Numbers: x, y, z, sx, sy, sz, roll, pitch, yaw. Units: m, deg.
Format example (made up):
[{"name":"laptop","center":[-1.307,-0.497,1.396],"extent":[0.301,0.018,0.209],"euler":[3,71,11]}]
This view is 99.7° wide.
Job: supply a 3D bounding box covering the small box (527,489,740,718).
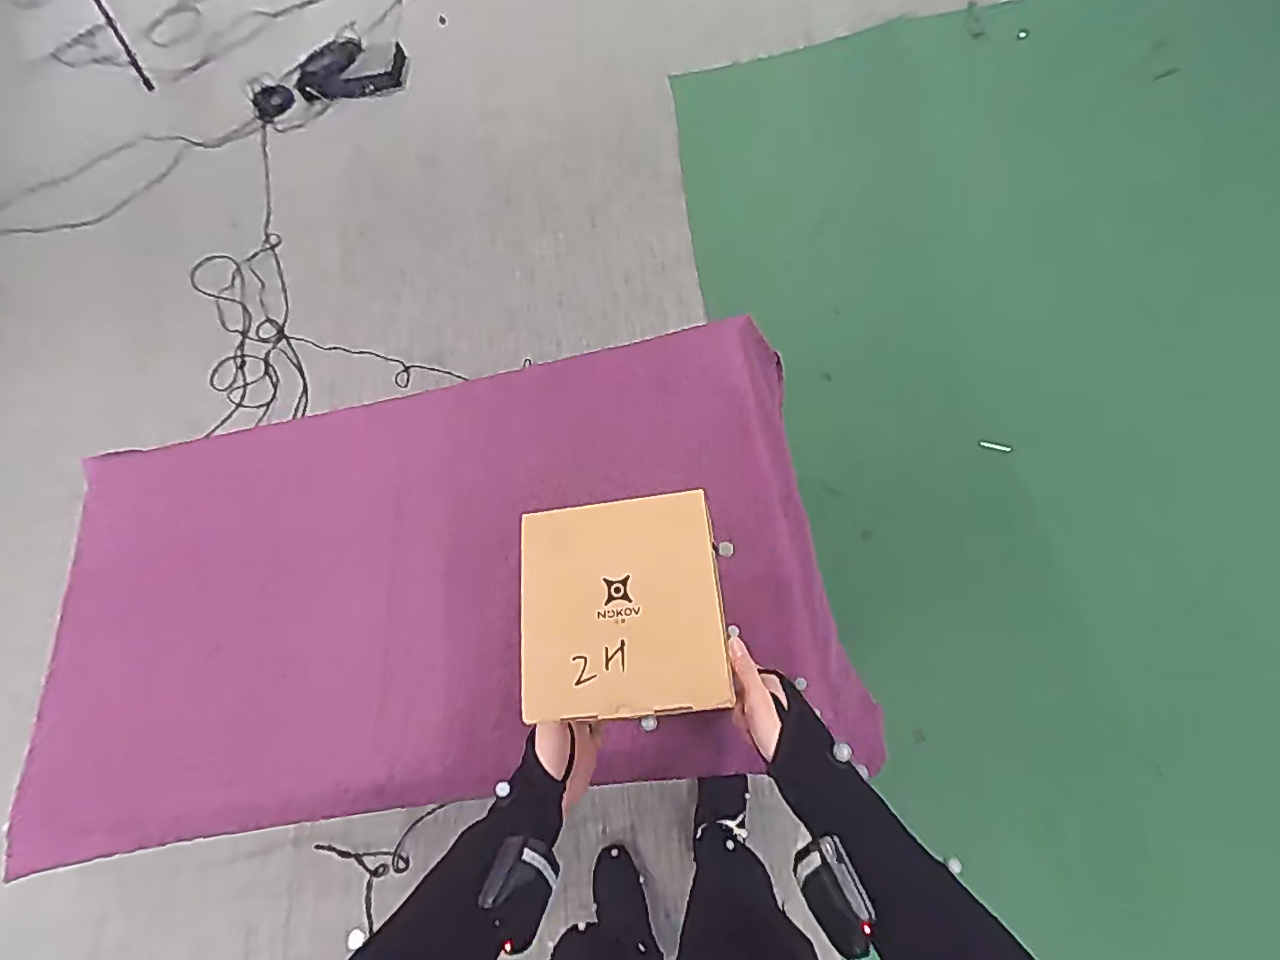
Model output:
[{"name":"small box","center":[0.000,0.126,0.514],"extent":[0.168,0.176,0.179],"euler":[-8,68,8]}]
